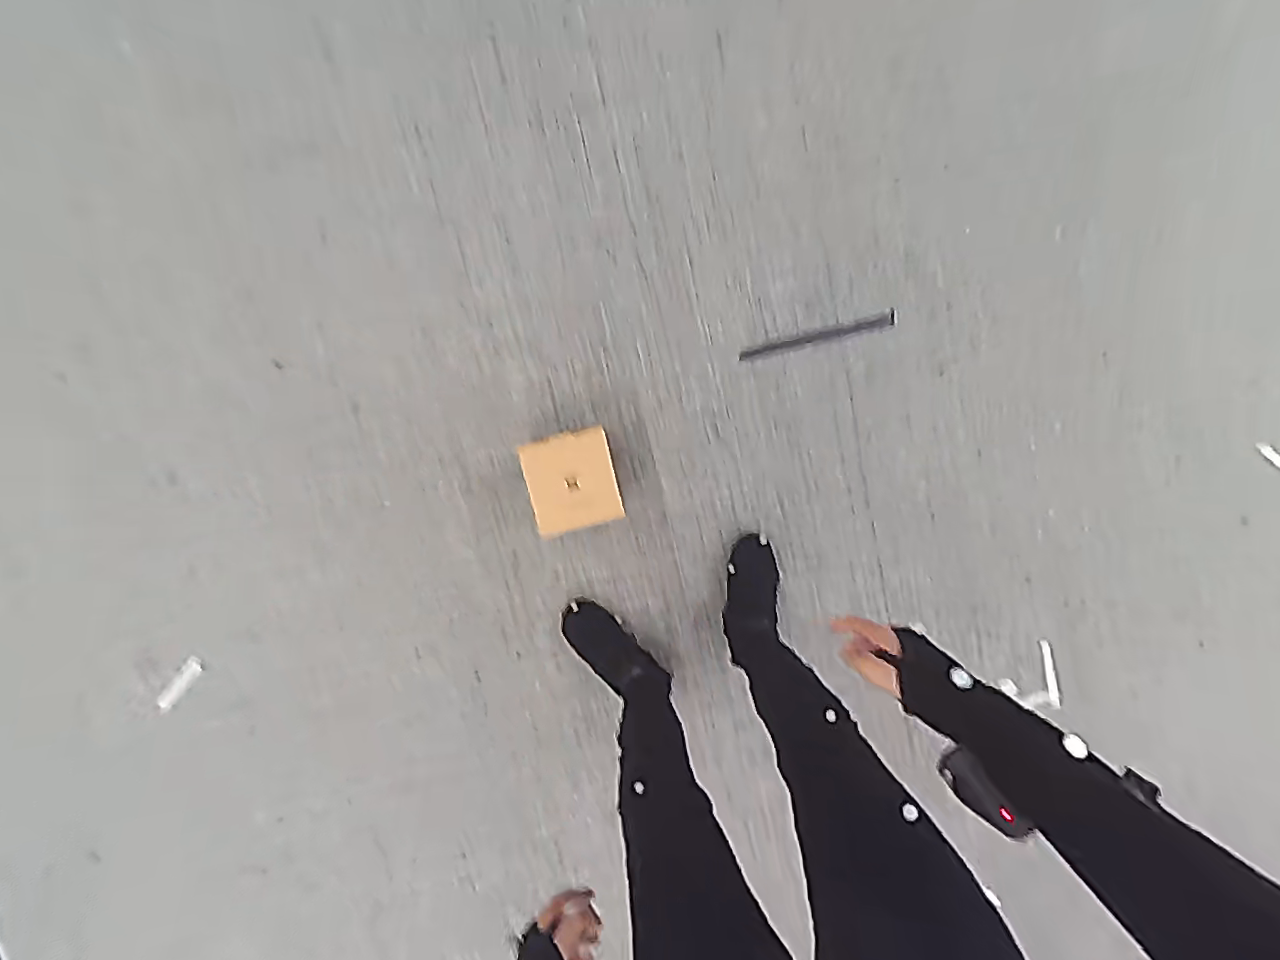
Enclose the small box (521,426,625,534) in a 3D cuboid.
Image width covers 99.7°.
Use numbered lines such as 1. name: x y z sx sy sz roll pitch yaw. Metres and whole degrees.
1. small box: -0.133 -0.005 1.092 0.168 0.176 0.179 -14 96 -4
